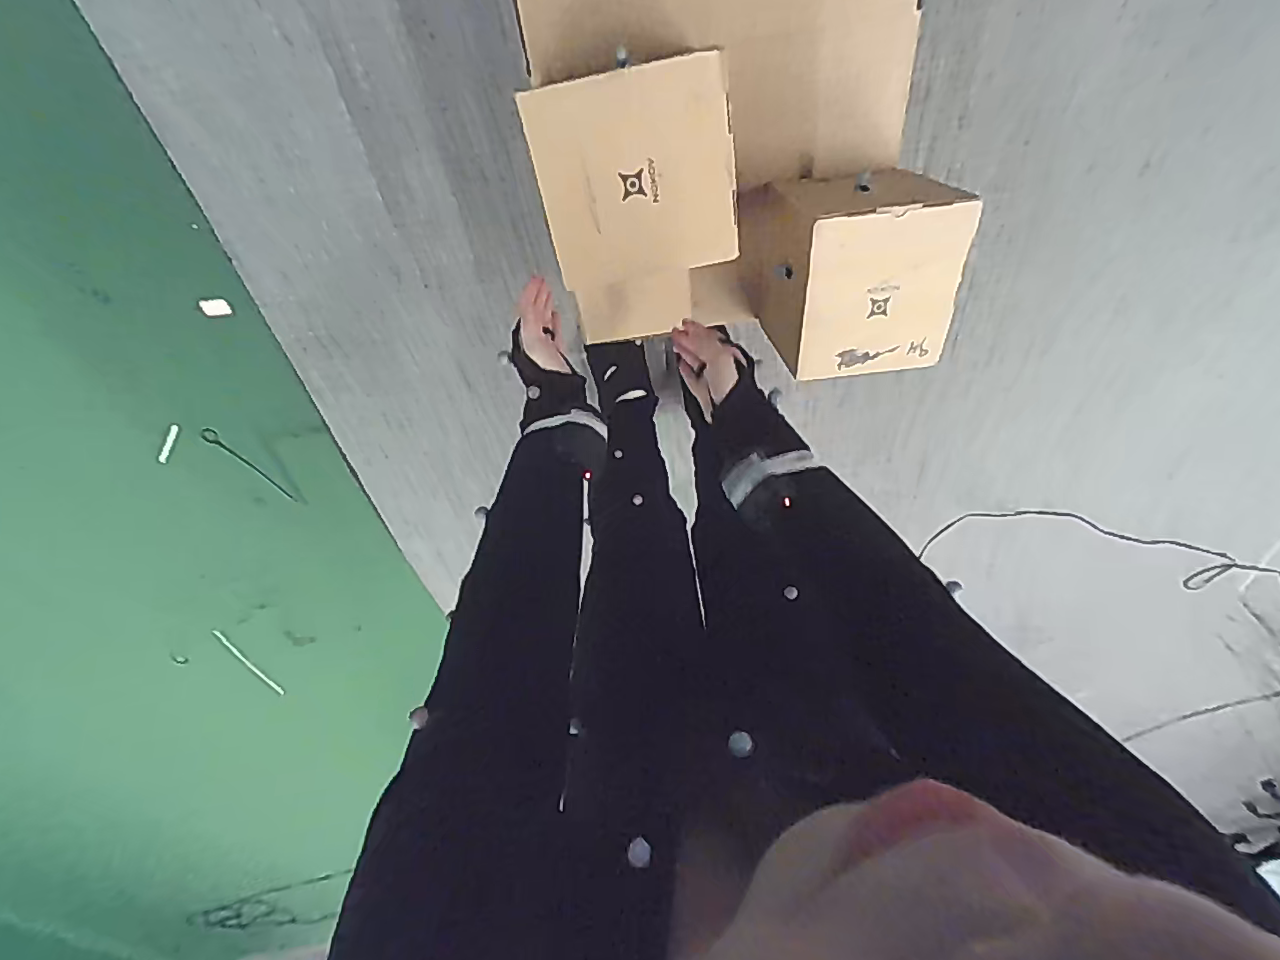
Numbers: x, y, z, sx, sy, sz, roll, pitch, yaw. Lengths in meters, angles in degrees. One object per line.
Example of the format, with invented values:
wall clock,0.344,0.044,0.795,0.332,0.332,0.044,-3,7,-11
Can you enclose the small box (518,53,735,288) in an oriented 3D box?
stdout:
small box,-0.009,-0.316,0.549,0.179,0.176,0.168,-9,127,4

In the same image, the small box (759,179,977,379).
small box,0.240,-0.238,0.625,0.168,0.176,0.179,-6,128,0
